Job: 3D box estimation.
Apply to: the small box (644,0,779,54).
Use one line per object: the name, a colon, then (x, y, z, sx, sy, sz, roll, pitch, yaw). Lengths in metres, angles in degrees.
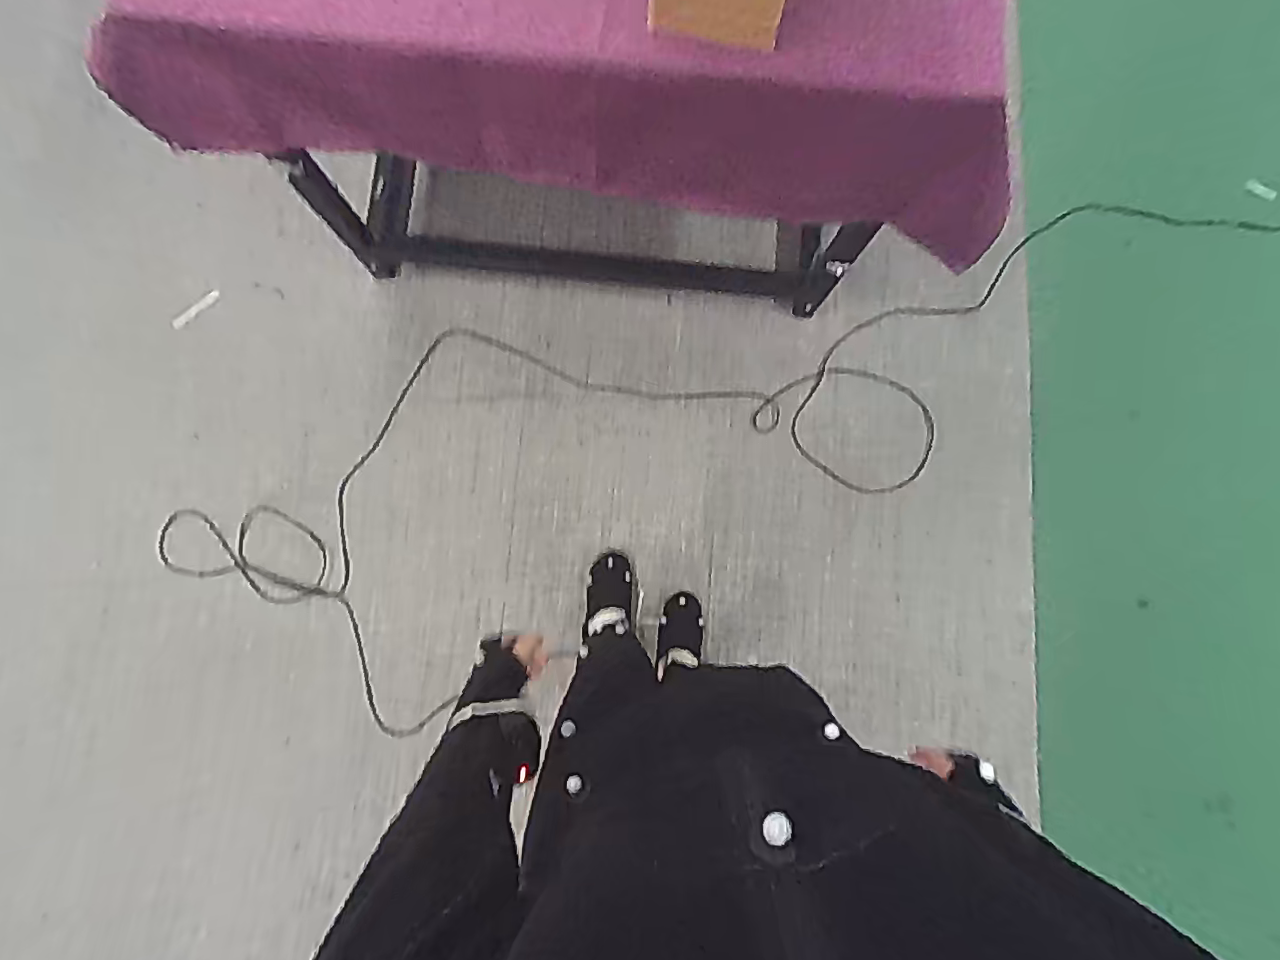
small box: (0.103, -0.687, 0.681, 0.179, 0.176, 0.168, 11, 81, 0)
